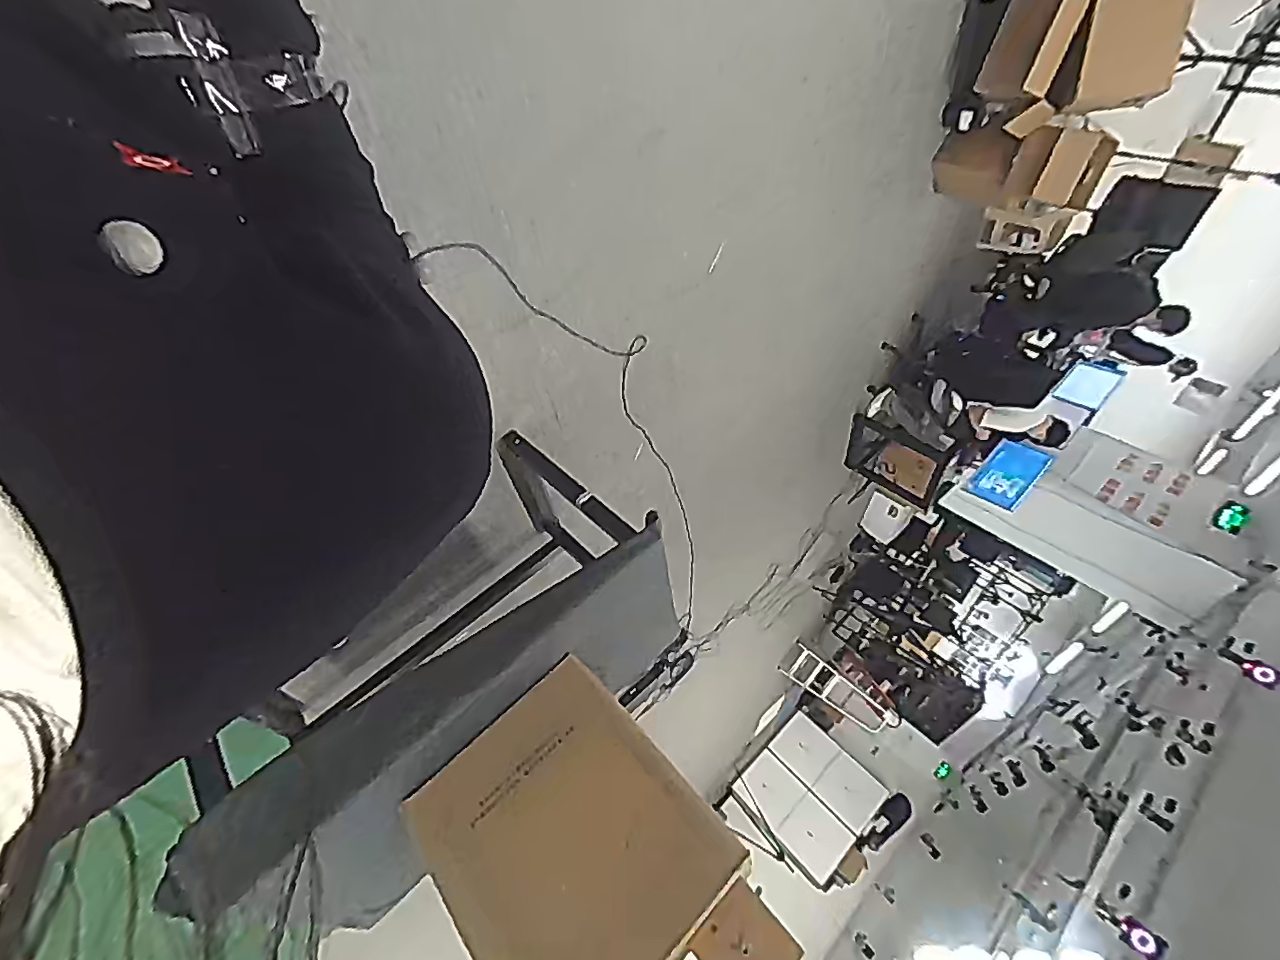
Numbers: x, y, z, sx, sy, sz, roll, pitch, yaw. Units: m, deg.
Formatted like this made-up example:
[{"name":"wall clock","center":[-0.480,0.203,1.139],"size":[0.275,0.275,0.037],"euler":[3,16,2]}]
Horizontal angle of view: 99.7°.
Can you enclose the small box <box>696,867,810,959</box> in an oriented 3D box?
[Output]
[{"name":"small box","center":[0.231,0.945,1.119],"size":[0.168,0.176,0.179],"euler":[-41,142,-20]}]
